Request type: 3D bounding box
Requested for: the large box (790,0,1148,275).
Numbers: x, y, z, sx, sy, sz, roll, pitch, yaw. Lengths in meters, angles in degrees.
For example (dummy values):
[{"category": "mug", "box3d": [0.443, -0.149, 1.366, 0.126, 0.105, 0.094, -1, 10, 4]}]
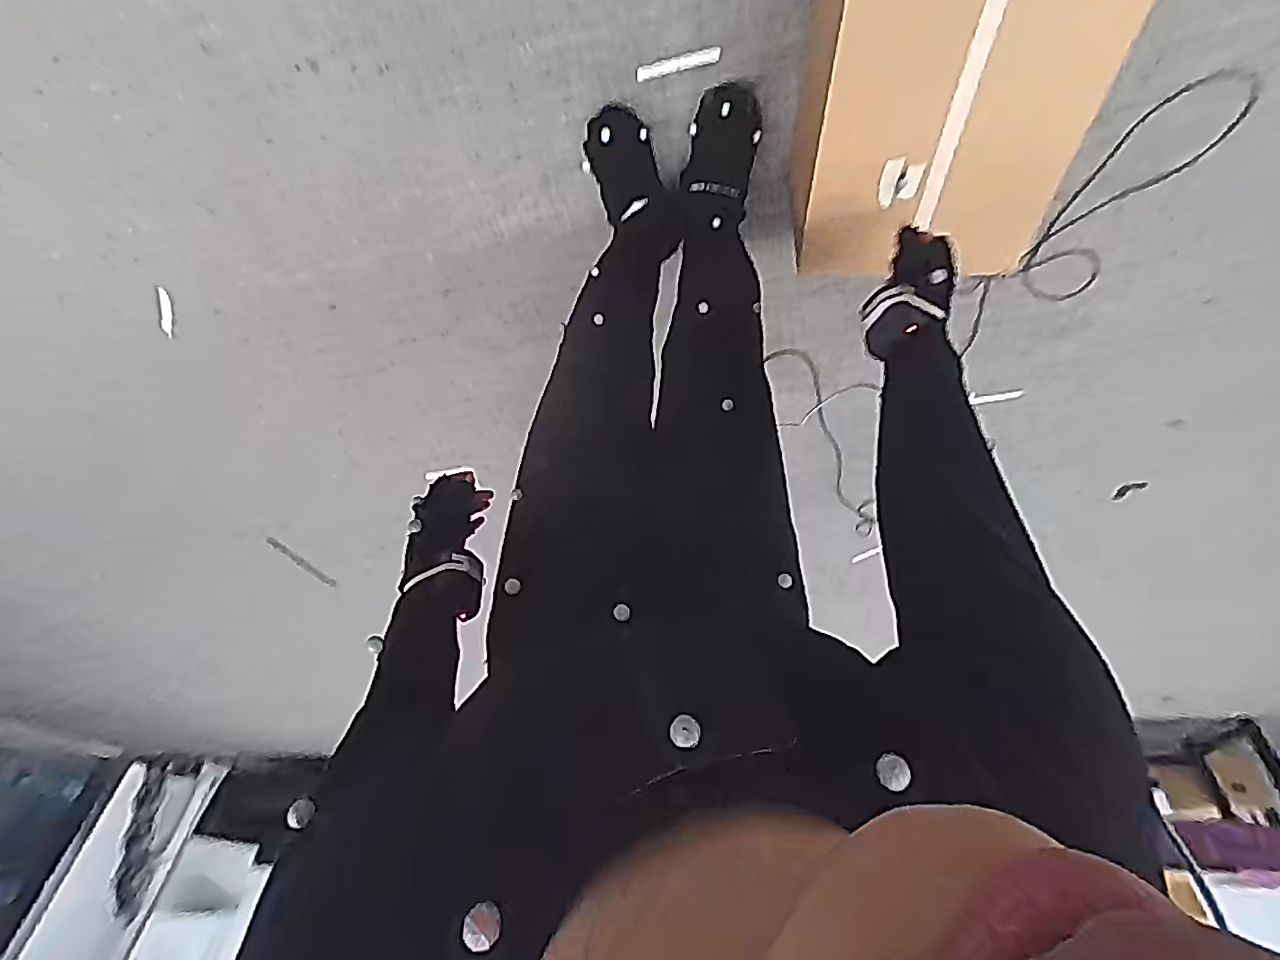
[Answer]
[{"category": "large box", "box3d": [0.412, -0.562, 0.777, 0.320, 0.320, 0.408, 3, 142, 6]}]
